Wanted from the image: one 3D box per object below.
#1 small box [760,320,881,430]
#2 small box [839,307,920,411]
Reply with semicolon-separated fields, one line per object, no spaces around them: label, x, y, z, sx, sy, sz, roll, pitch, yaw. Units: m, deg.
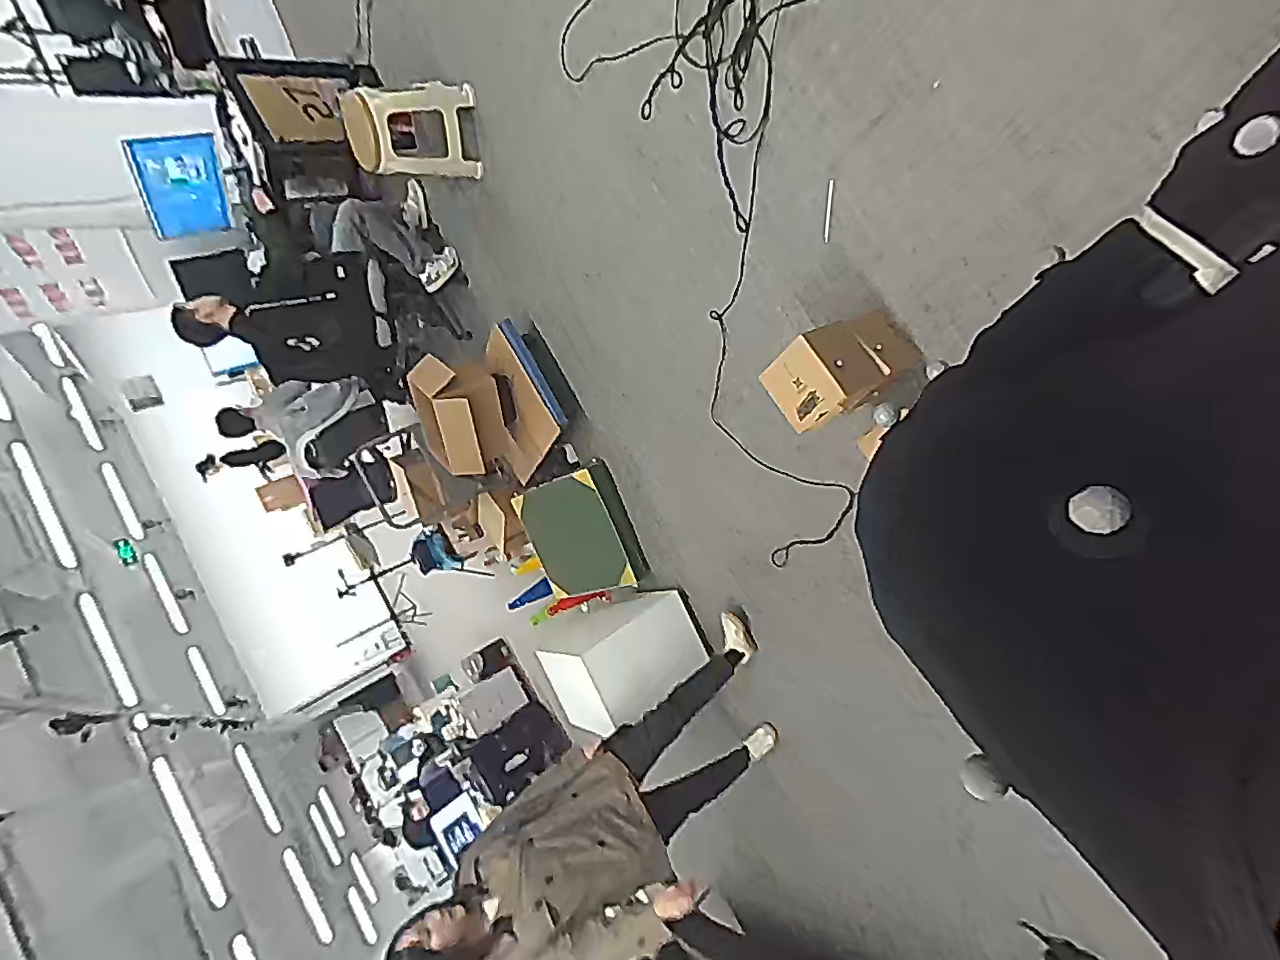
small box;0.427;-0.250;1.274;0.179;0.176;0.168;58;145;11
small box;0.558;-0.305;1.359;0.168;0.176;0.179;54;145;15
